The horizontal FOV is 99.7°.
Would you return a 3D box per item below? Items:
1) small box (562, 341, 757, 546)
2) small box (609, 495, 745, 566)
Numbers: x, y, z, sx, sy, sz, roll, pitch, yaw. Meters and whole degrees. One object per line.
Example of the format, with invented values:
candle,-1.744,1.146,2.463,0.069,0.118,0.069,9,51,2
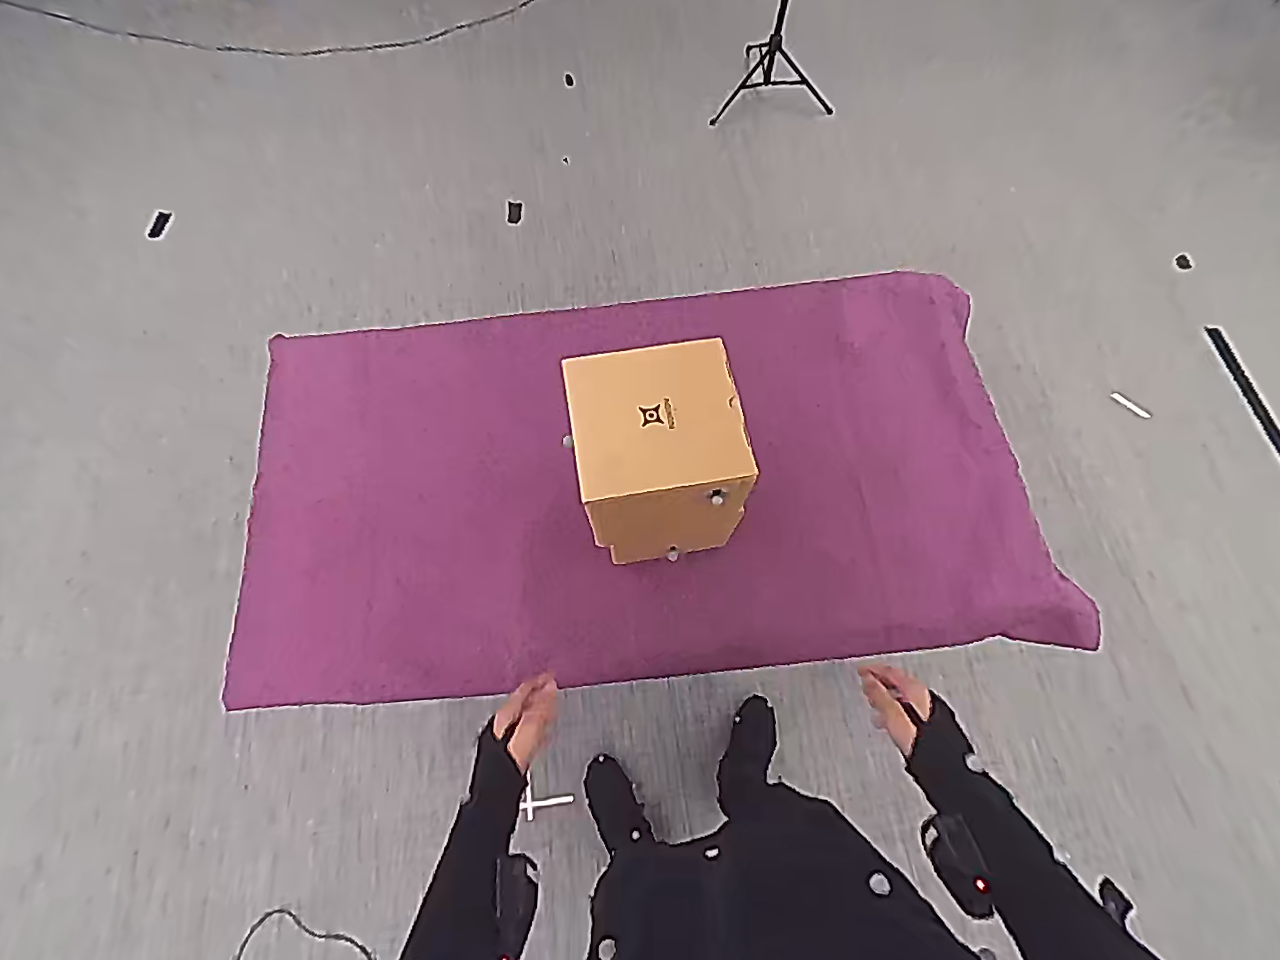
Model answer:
small box,0.017,-0.032,0.619,0.179,0.176,0.168,-9,69,-4
small box,0.033,0.015,0.776,0.179,0.176,0.168,-9,68,-5
